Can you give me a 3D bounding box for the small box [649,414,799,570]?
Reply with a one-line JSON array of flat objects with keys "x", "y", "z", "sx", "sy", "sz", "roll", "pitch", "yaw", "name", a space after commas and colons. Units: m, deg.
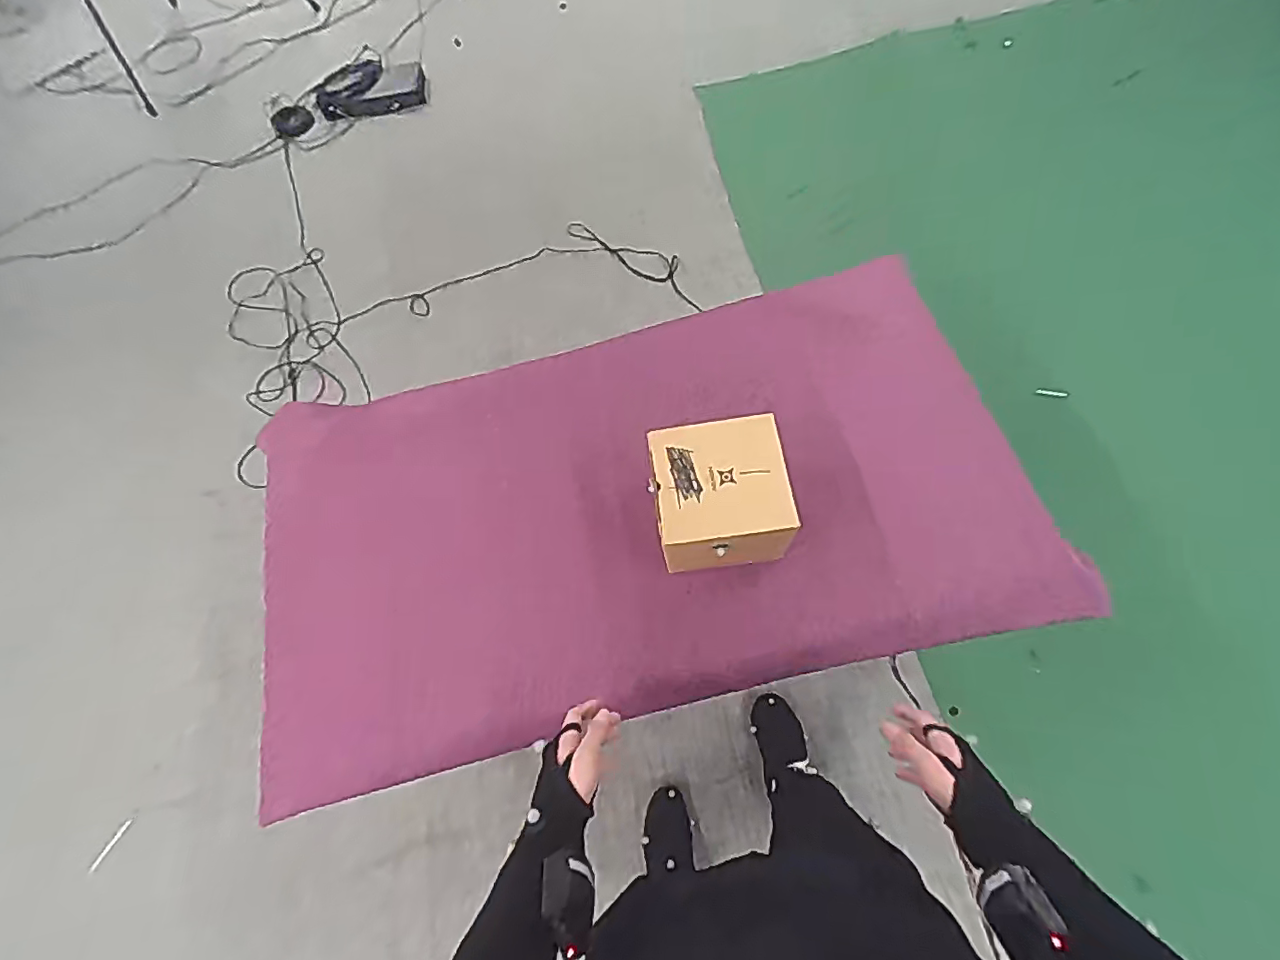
[{"x": 0.115, "y": 0.026, "z": 0.782, "sx": 0.179, "sy": 0.176, "sz": 0.168, "roll": -8, "pitch": 68, "yaw": 3, "name": "small box"}]
